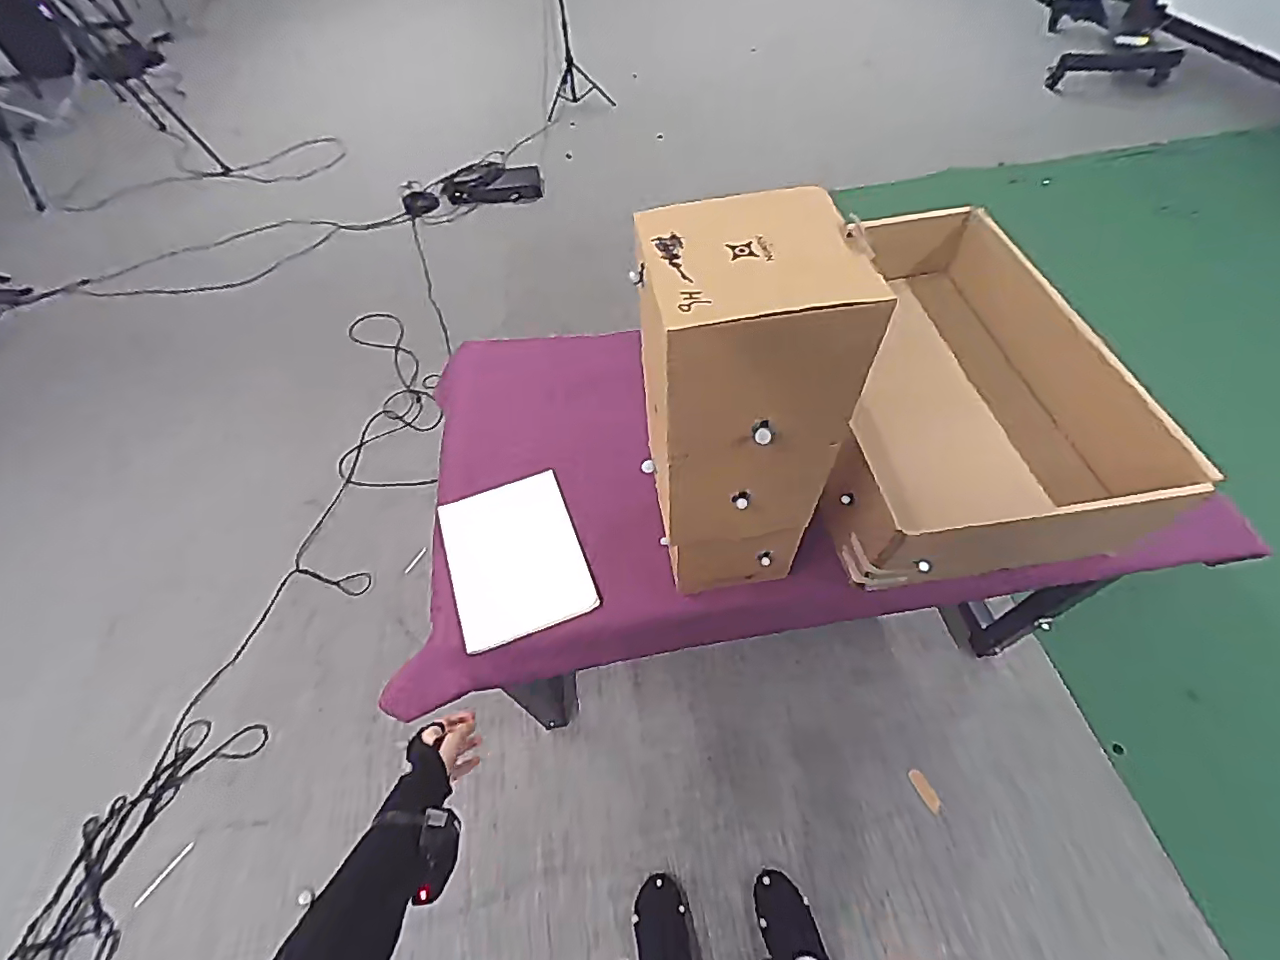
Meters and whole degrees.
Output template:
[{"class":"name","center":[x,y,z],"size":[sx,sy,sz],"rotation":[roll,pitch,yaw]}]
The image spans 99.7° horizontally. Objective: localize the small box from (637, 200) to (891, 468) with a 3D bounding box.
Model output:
[{"class":"small box","center":[0.094,-0.131,0.505],"size":[0.179,0.176,0.168],"rotation":[-8,53,-3]}]

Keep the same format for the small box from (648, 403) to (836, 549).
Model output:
[{"class":"small box","center":[0.104,-0.036,0.639],"size":[0.179,0.176,0.168],"rotation":[-9,54,-1]}]
